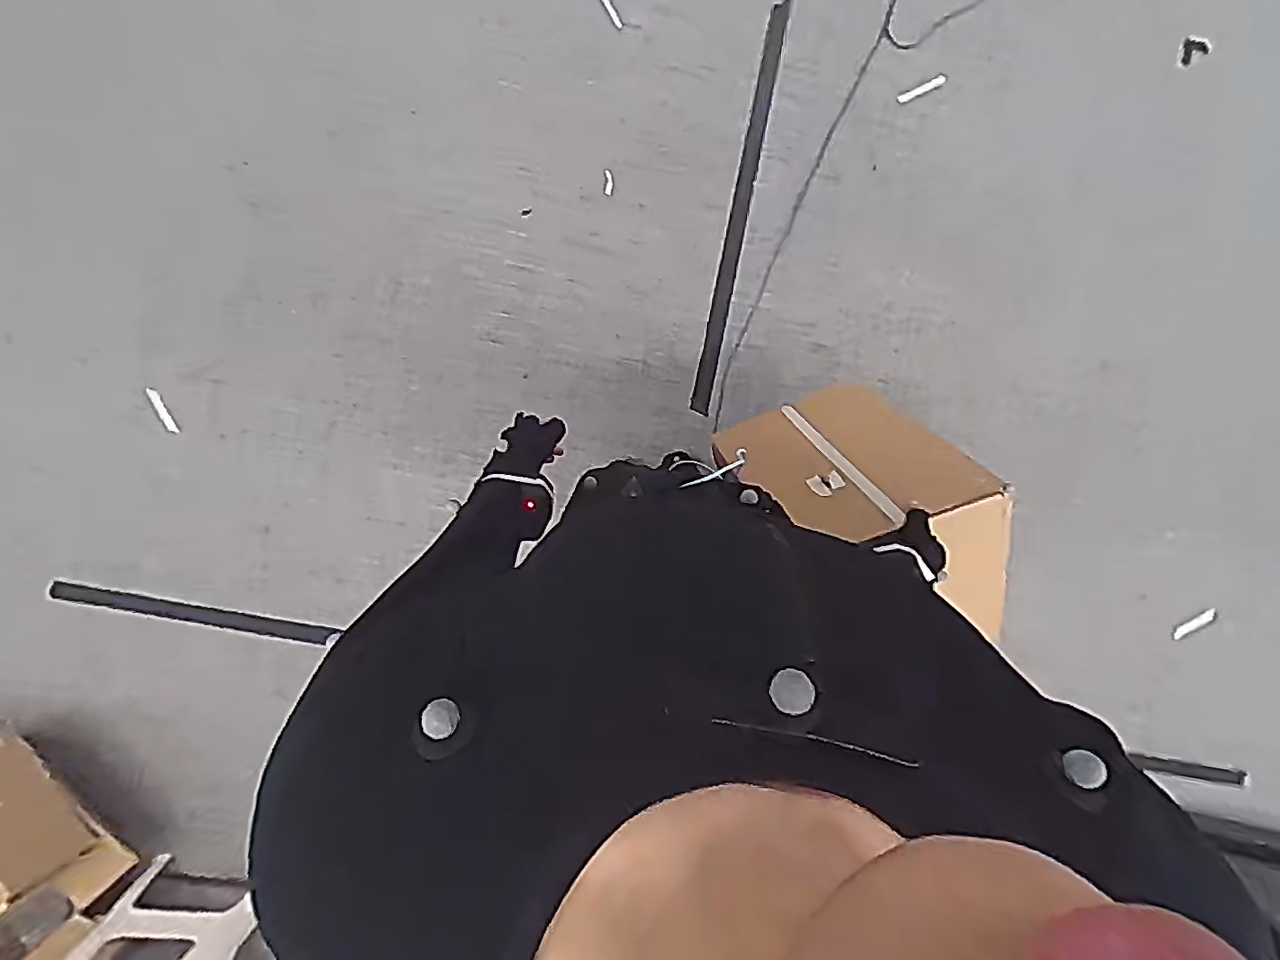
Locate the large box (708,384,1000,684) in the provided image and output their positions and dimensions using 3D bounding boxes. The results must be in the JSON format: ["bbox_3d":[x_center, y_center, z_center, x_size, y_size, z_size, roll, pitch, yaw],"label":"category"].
[{"bbox_3d":[0.356,0.079,0.989,0.320,0.408,0.320,-21,124,0],"label":"large box"}]
